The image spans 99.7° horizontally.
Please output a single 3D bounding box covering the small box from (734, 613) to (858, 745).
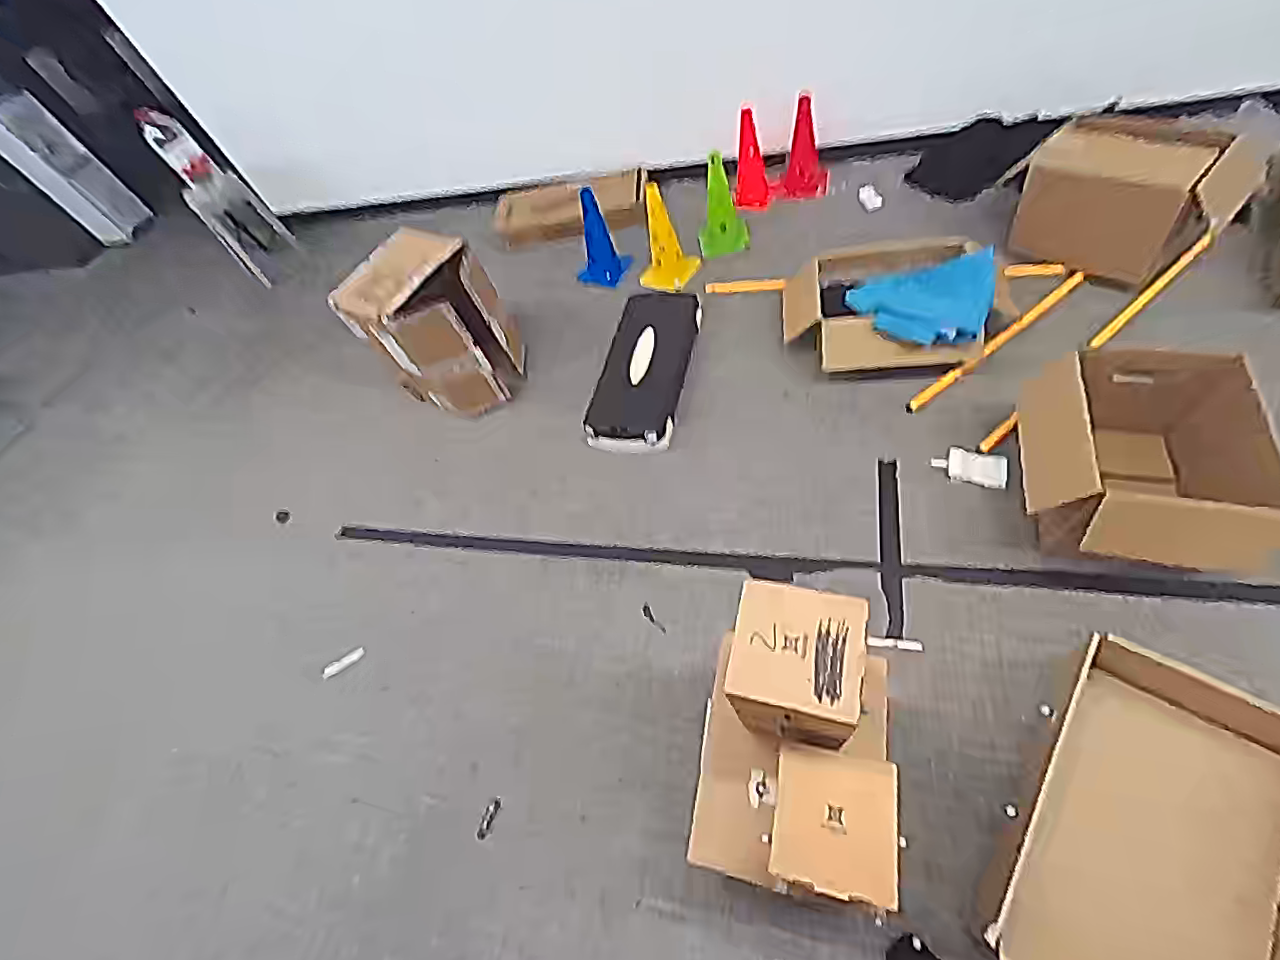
[{"bbox_3d":[0.271,0.349,0.938,0.179,0.176,0.168,7,62,19],"label":"small box"}]

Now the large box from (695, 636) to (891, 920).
[{"bbox_3d":[0.309,0.569,1.086,0.320,0.320,0.408,4,60,18],"label":"large box"}]
